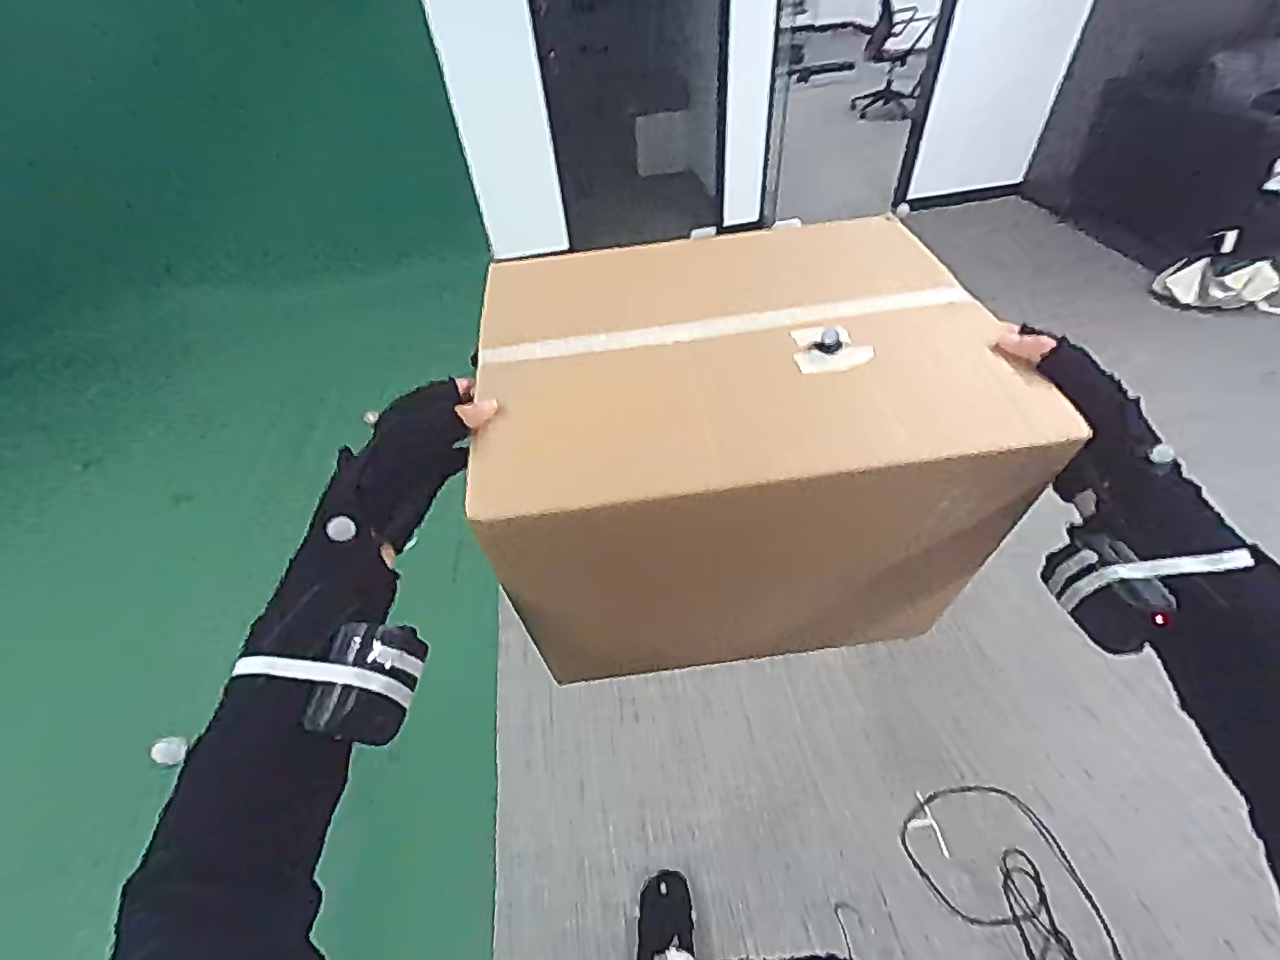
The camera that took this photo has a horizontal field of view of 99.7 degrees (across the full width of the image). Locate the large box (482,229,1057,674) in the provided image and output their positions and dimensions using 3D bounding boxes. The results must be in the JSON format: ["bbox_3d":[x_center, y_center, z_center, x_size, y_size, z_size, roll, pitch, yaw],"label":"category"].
[{"bbox_3d":[0.080,-0.022,0.567,0.408,0.320,0.320,-7,52,-2],"label":"large box"}]
